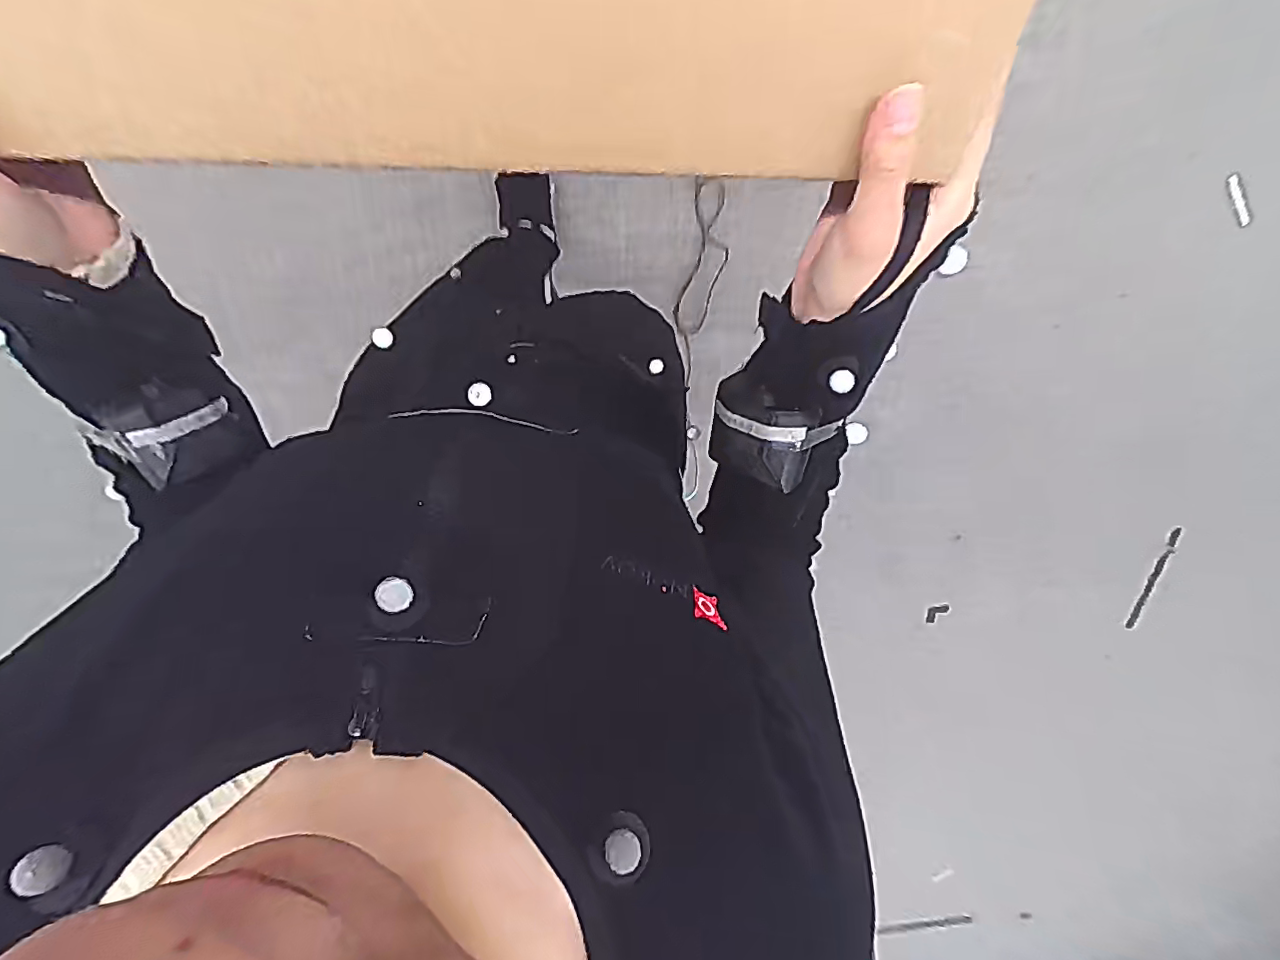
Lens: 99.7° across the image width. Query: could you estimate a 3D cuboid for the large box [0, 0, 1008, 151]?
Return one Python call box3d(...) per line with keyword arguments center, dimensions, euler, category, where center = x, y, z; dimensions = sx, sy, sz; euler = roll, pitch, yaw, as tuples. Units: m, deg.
box3d(center=(-0.072, -0.347, 0.203), dimensions=(0.408, 0.320, 0.320), euler=(-2, 140, -4), category="large box")
